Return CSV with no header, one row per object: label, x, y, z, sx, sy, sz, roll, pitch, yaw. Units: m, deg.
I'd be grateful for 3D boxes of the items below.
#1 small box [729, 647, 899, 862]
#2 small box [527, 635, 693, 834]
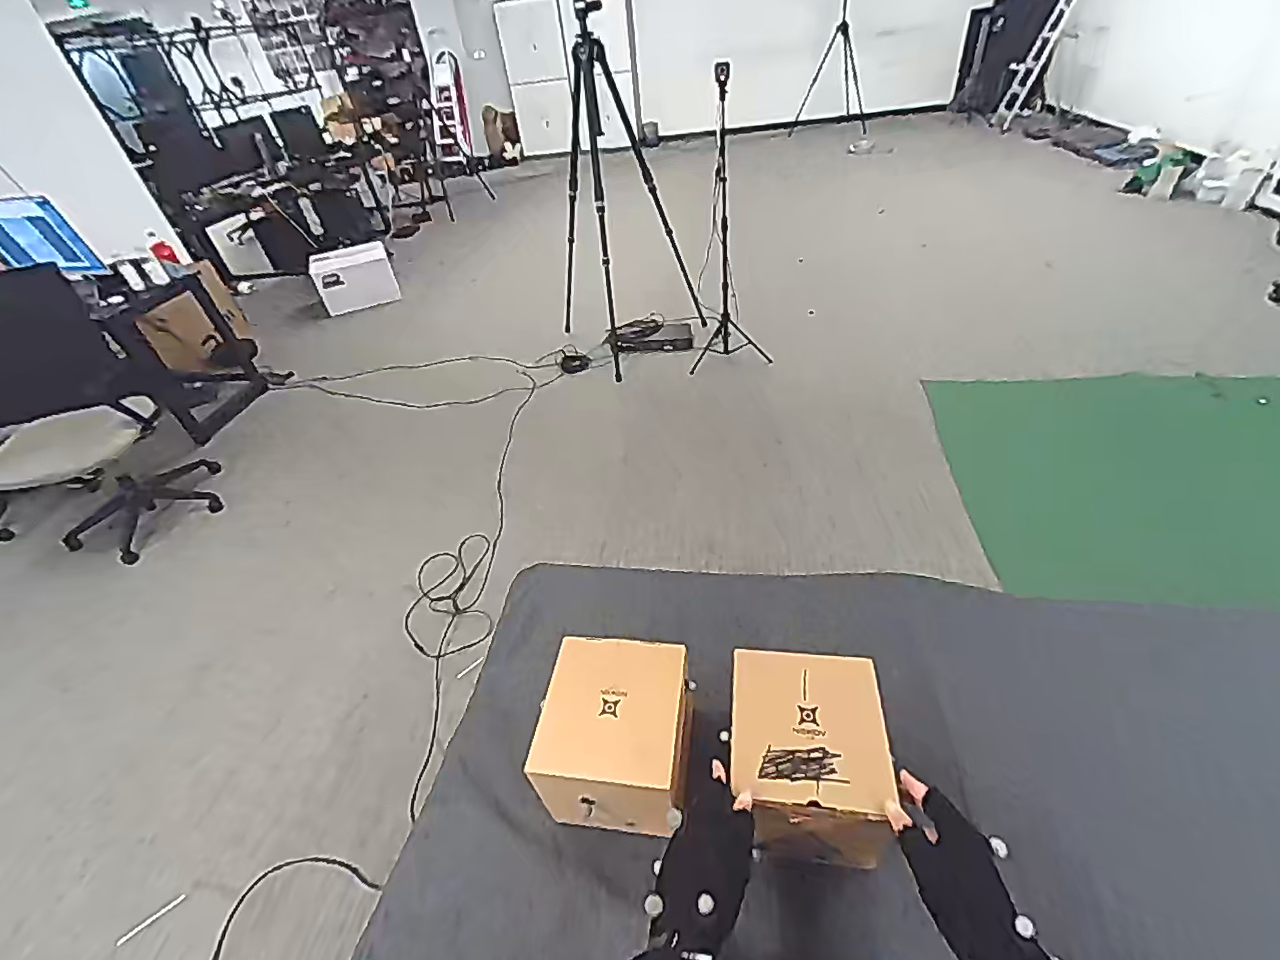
small box,0.196,0.327,0.648,0.168,0.176,0.179,1,41,11
small box,-0.023,0.325,0.693,0.168,0.176,0.179,1,41,11
